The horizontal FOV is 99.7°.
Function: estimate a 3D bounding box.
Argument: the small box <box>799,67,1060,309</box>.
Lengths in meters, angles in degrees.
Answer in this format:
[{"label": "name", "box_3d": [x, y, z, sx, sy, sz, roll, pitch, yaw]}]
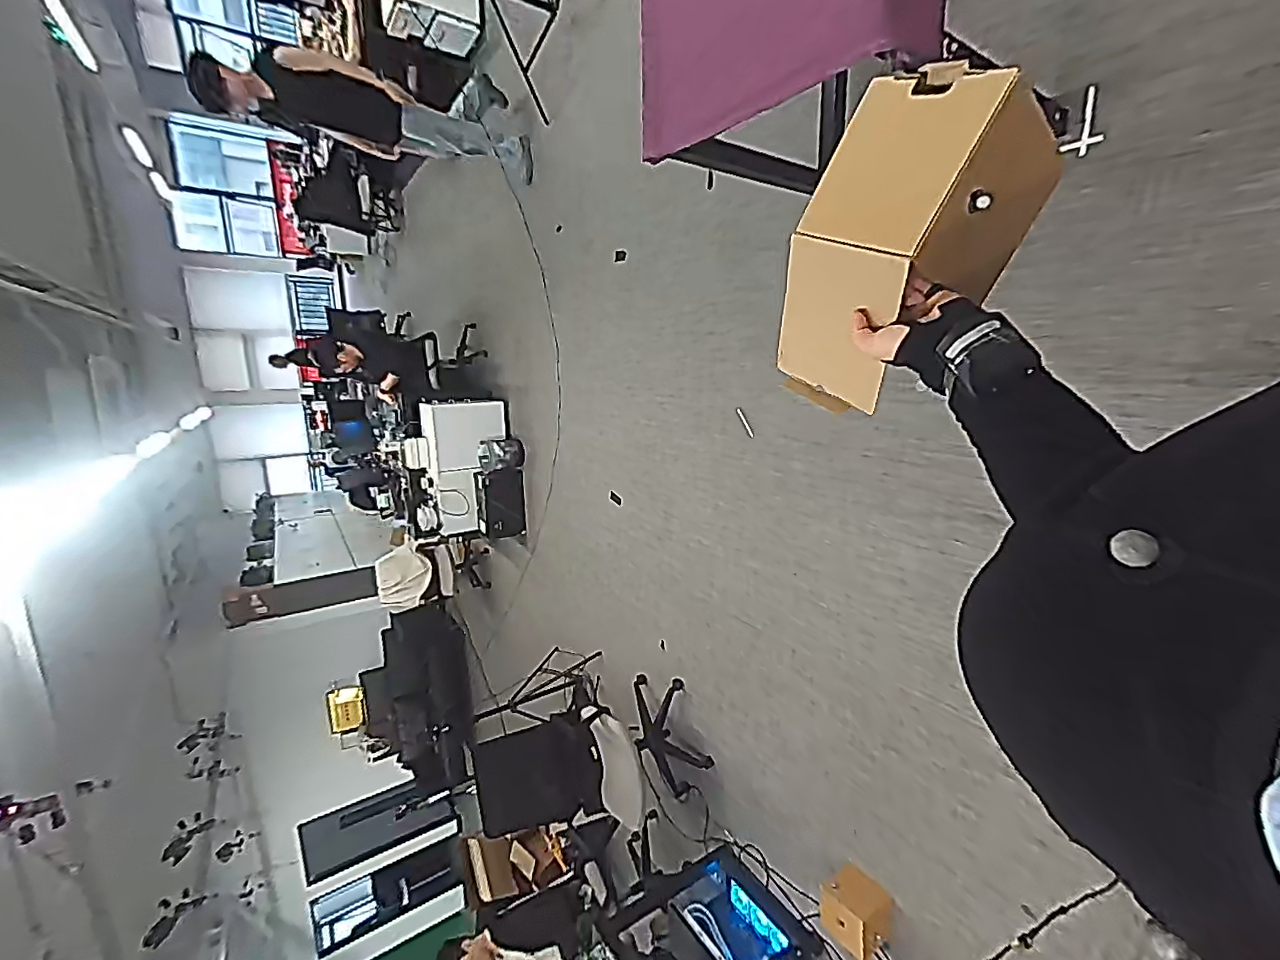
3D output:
[{"label": "small box", "box_3d": [0.324, -0.316, 0.609, 0.168, 0.176, 0.179, 45, 114, 46]}]
